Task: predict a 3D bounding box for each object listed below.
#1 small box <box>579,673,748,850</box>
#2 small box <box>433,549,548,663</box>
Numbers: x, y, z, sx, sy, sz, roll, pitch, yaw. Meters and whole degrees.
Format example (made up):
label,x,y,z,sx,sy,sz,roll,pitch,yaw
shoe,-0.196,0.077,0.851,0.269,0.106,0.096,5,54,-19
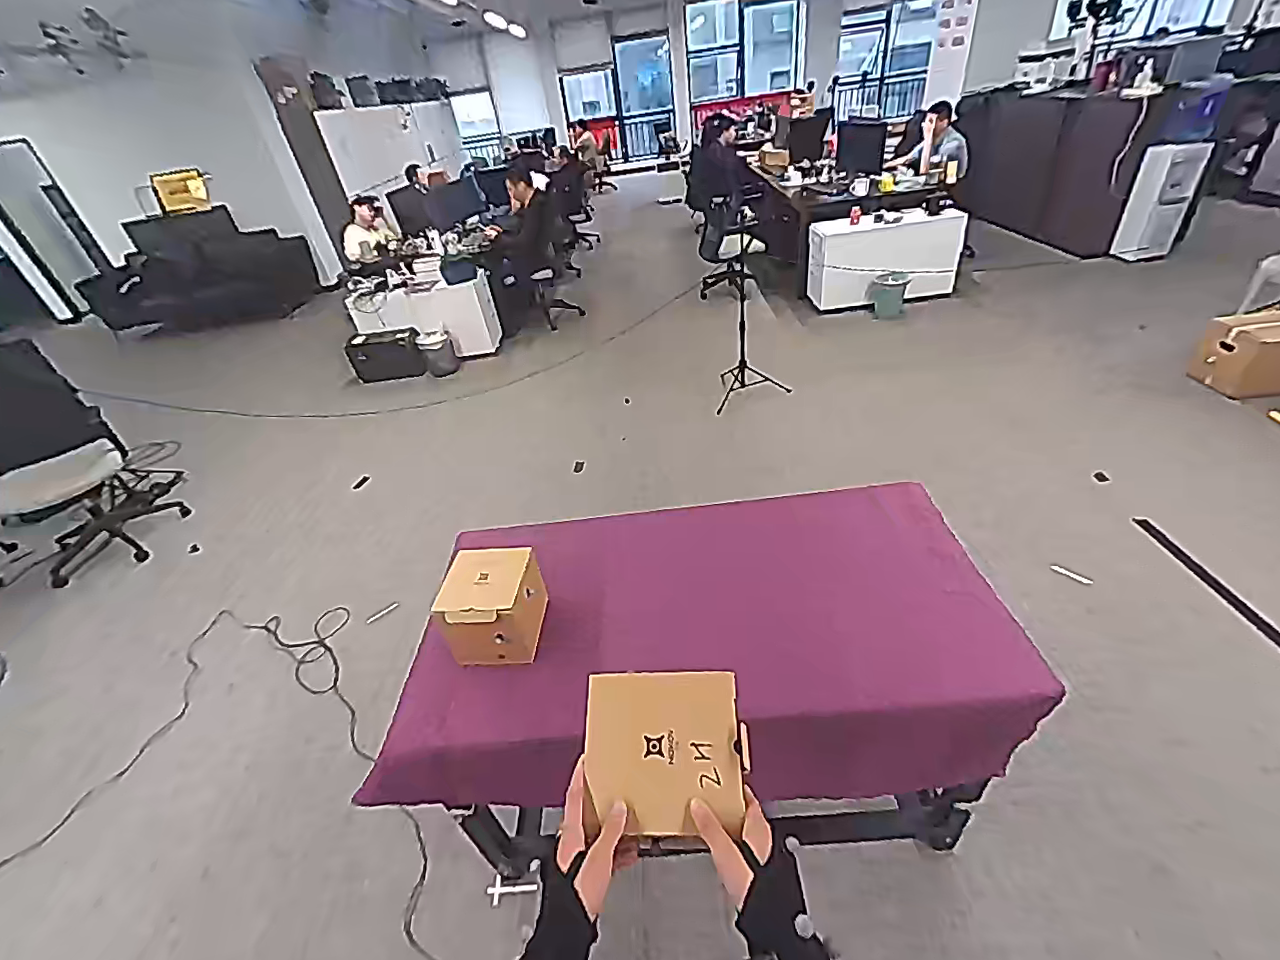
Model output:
label,x,y,z,sx,sy,sz,roll,pitch,yaw
small box,0.034,0.344,0.657,0.179,0.176,0.168,-2,52,5
small box,-0.303,0.267,1.141,0.168,0.176,0.179,-3,36,7
